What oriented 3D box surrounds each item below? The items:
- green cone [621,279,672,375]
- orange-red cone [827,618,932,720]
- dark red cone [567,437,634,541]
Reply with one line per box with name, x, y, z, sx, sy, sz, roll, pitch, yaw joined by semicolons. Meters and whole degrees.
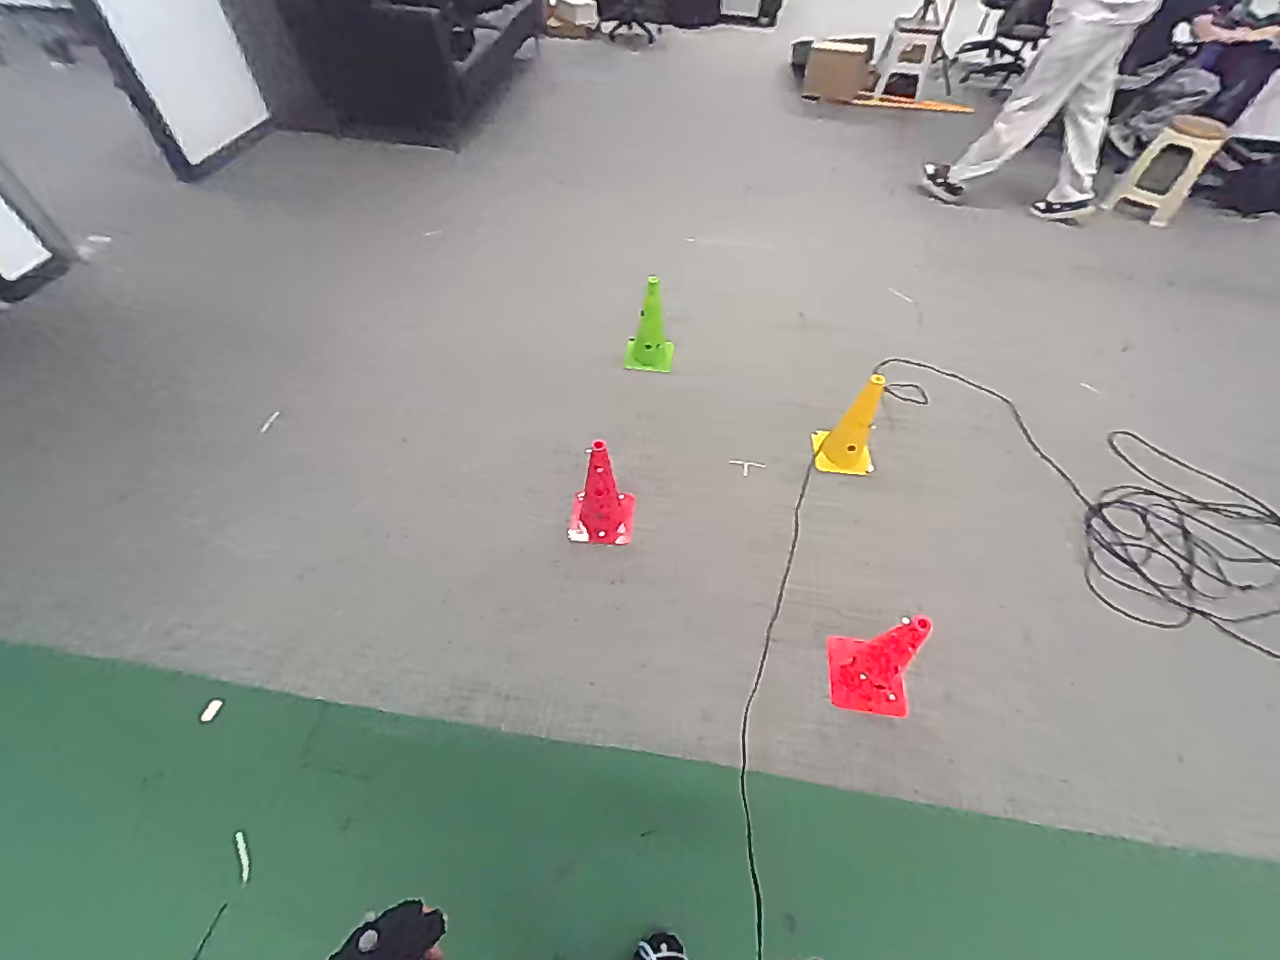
green cone;0.038;-0.624;2.150;0.202;0.368;0.200;7;52;2
orange-red cone;0.621;0.432;1.338;0.198;0.360;0.199;9;51;3
dark red cone;-0.118;0.011;1.612;0.202;0.394;0.201;4;53;1
